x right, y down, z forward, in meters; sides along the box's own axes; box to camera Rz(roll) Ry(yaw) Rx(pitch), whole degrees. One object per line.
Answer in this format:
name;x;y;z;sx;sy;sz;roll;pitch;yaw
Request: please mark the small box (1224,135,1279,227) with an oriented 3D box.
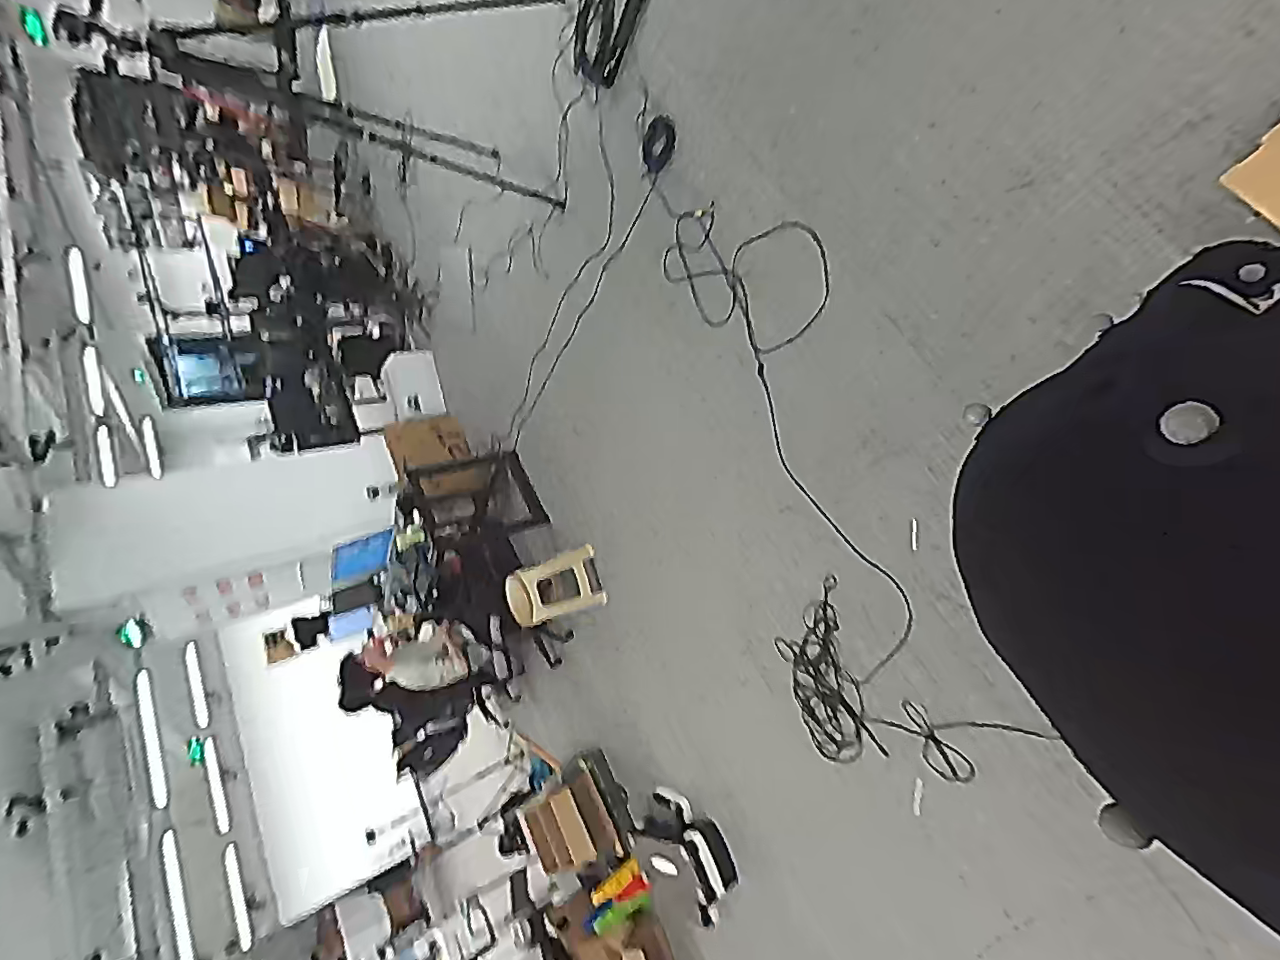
small box;1.083;-0.477;0.836;0.179;0.176;0.168;60;141;21
